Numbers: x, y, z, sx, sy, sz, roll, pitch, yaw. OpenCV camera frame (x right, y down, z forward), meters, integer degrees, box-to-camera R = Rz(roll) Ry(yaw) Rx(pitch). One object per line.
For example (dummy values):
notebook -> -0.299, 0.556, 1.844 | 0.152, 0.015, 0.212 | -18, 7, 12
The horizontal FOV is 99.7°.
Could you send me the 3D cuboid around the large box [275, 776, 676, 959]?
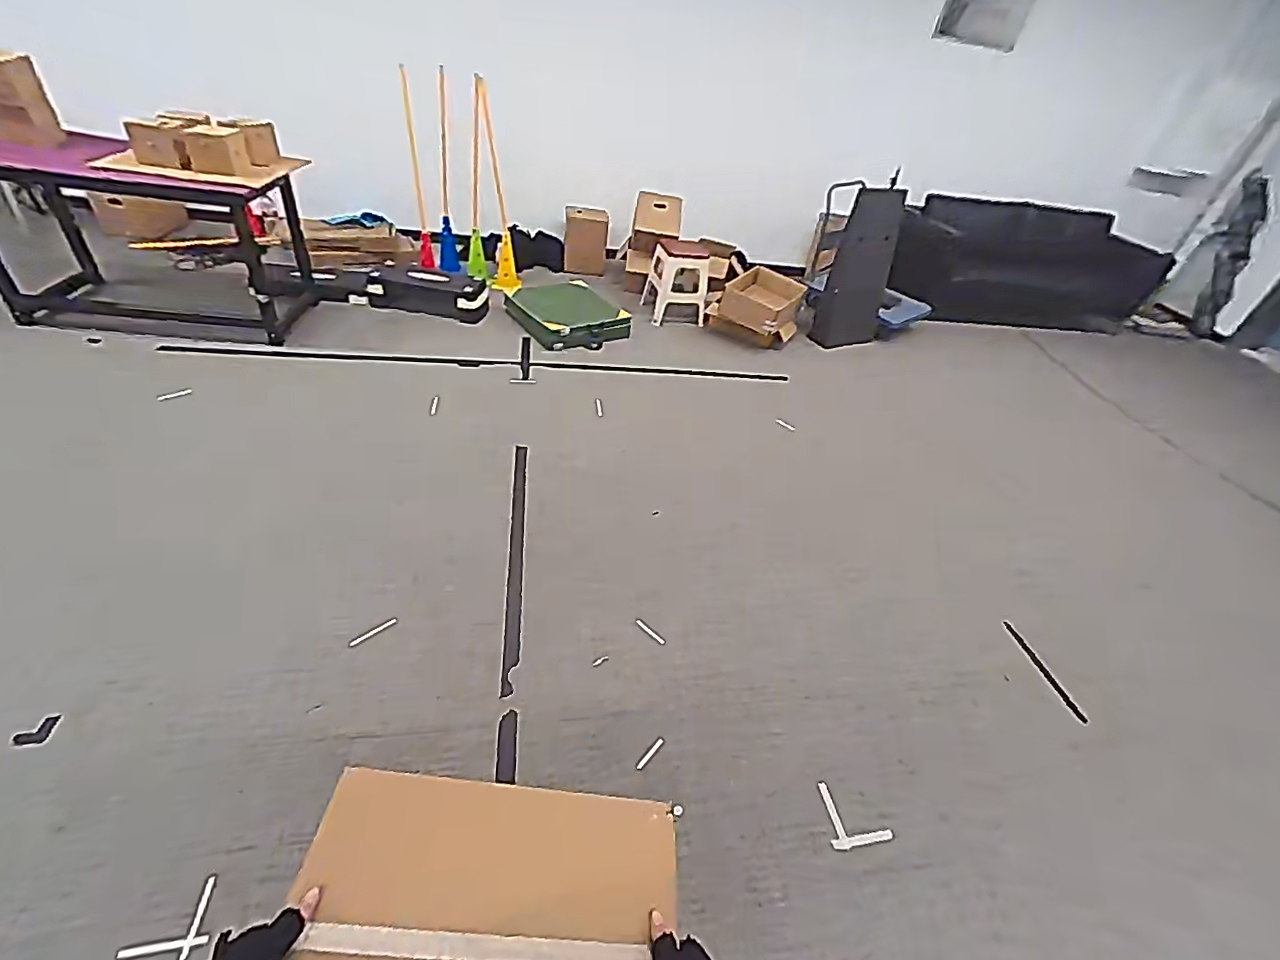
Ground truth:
large box -> -0.190, 0.596, 0.637 | 0.408, 0.320, 0.320 | 11, 37, -8
